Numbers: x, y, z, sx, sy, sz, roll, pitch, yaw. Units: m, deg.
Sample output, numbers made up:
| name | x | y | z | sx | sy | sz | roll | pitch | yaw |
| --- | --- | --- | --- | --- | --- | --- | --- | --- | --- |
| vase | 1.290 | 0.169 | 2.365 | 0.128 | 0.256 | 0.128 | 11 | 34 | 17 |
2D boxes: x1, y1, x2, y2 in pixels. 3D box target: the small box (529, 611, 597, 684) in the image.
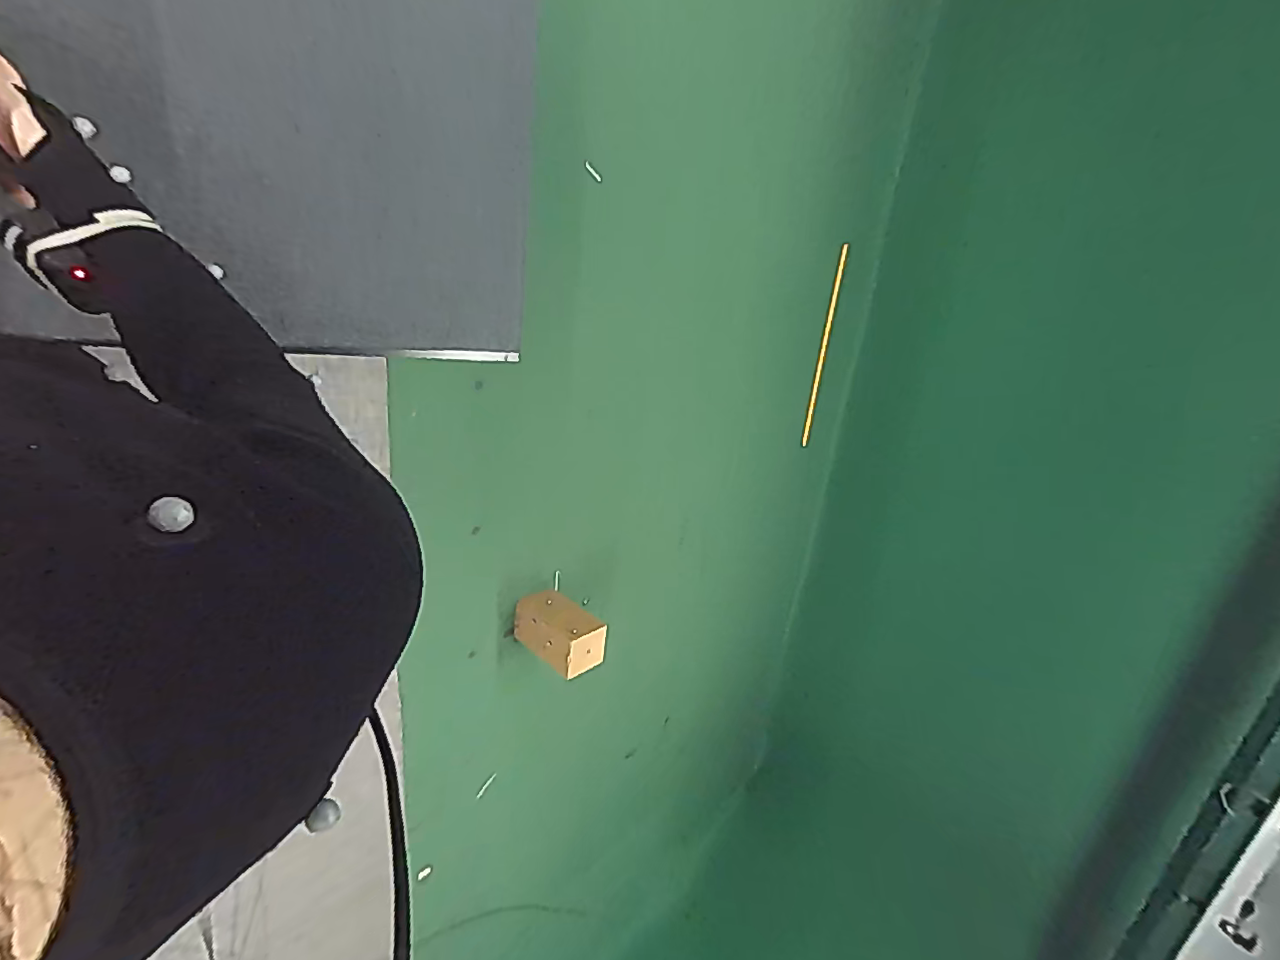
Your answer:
| name | x | y | z | sx | sy | sz | roll | pitch | yaw |
| --- | --- | --- | --- | --- | --- | --- | --- | --- | --- |
| small box | -0.286 | 0.610 | 1.995 | 0.179 | 0.176 | 0.168 | -12 | 116 | -47 |
